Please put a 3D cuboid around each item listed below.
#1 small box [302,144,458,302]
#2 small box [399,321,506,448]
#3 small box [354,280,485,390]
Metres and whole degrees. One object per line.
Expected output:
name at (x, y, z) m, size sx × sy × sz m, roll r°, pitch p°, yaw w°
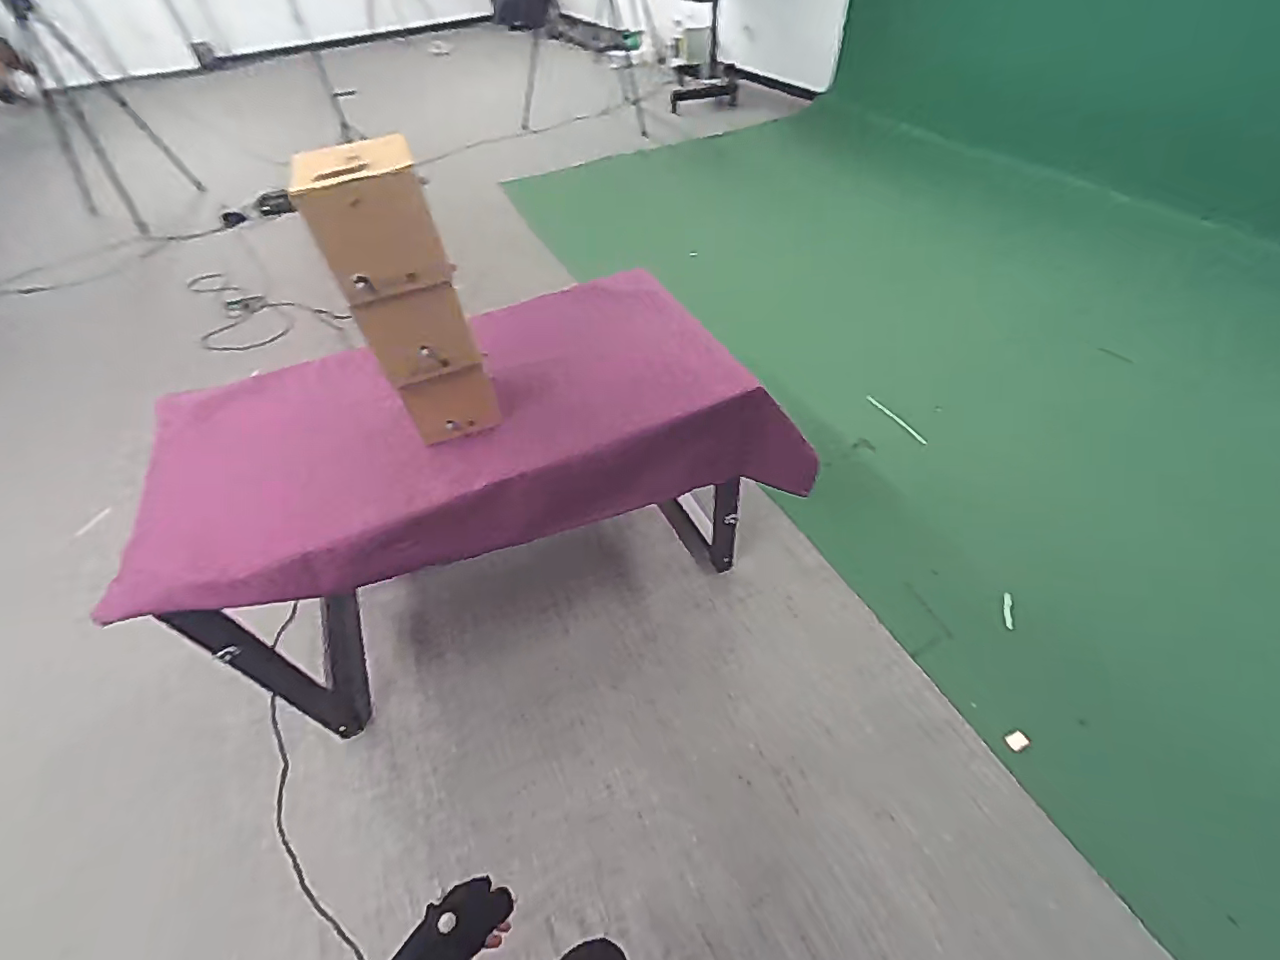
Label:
small box at (-0.400, -0.398, 0.851) m, size 0.168 × 0.176 × 0.179 m, roll -19°, pitch 48°, yaw -11°
small box at (-0.387, -0.195, 1.109) m, size 0.168 × 0.176 × 0.179 m, roll -18°, pitch 49°, yaw -11°
small box at (-0.396, -0.293, 0.977) m, size 0.168 × 0.176 × 0.179 m, roll -20°, pitch 49°, yaw -11°
